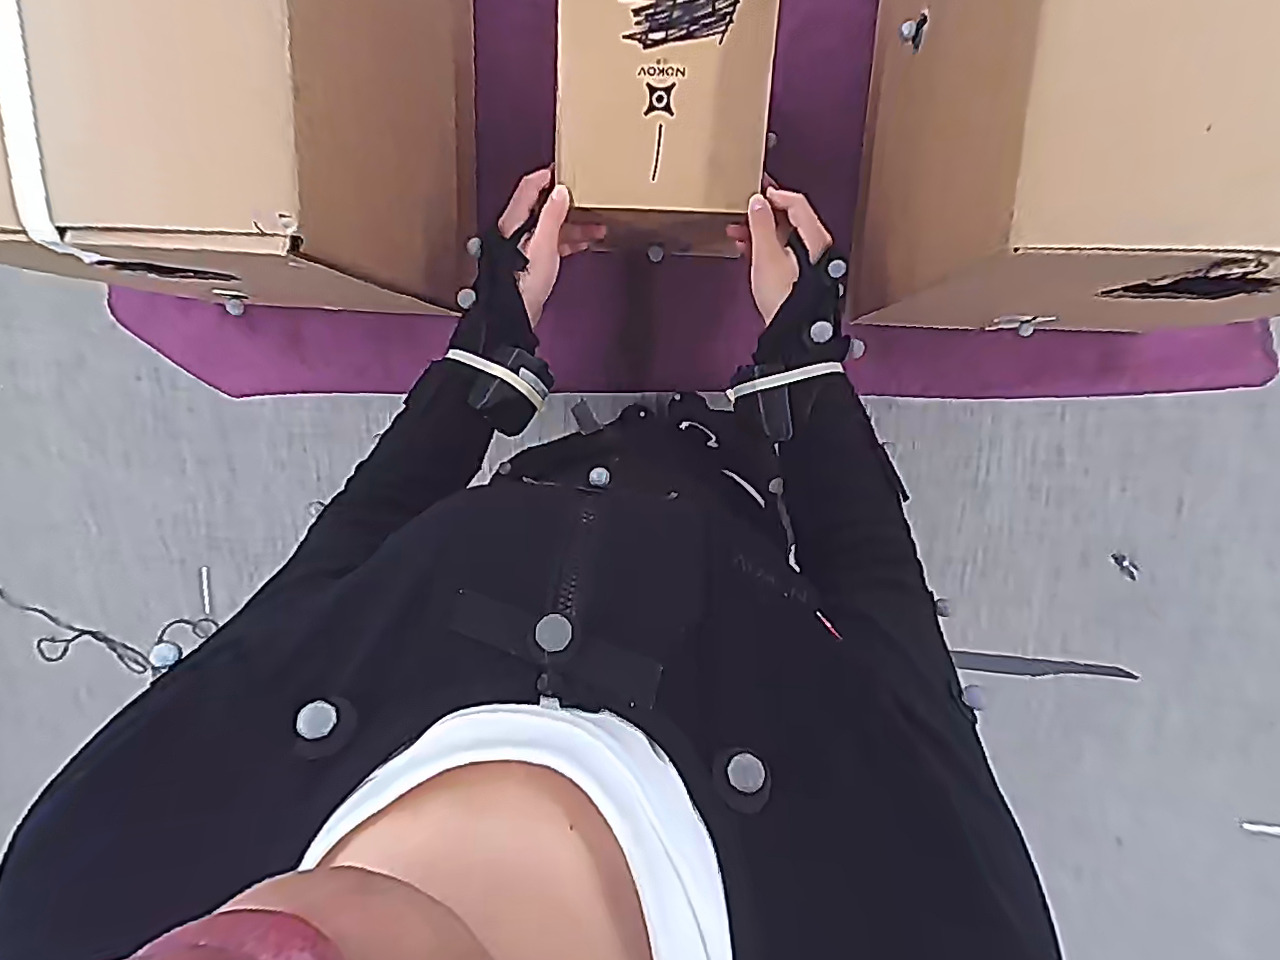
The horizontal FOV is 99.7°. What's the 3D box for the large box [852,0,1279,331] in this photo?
[{"bbox_3d":[0.364,-0.331,0.394,0.320,0.320,0.408,3,99,4],"label":"large box"}]
